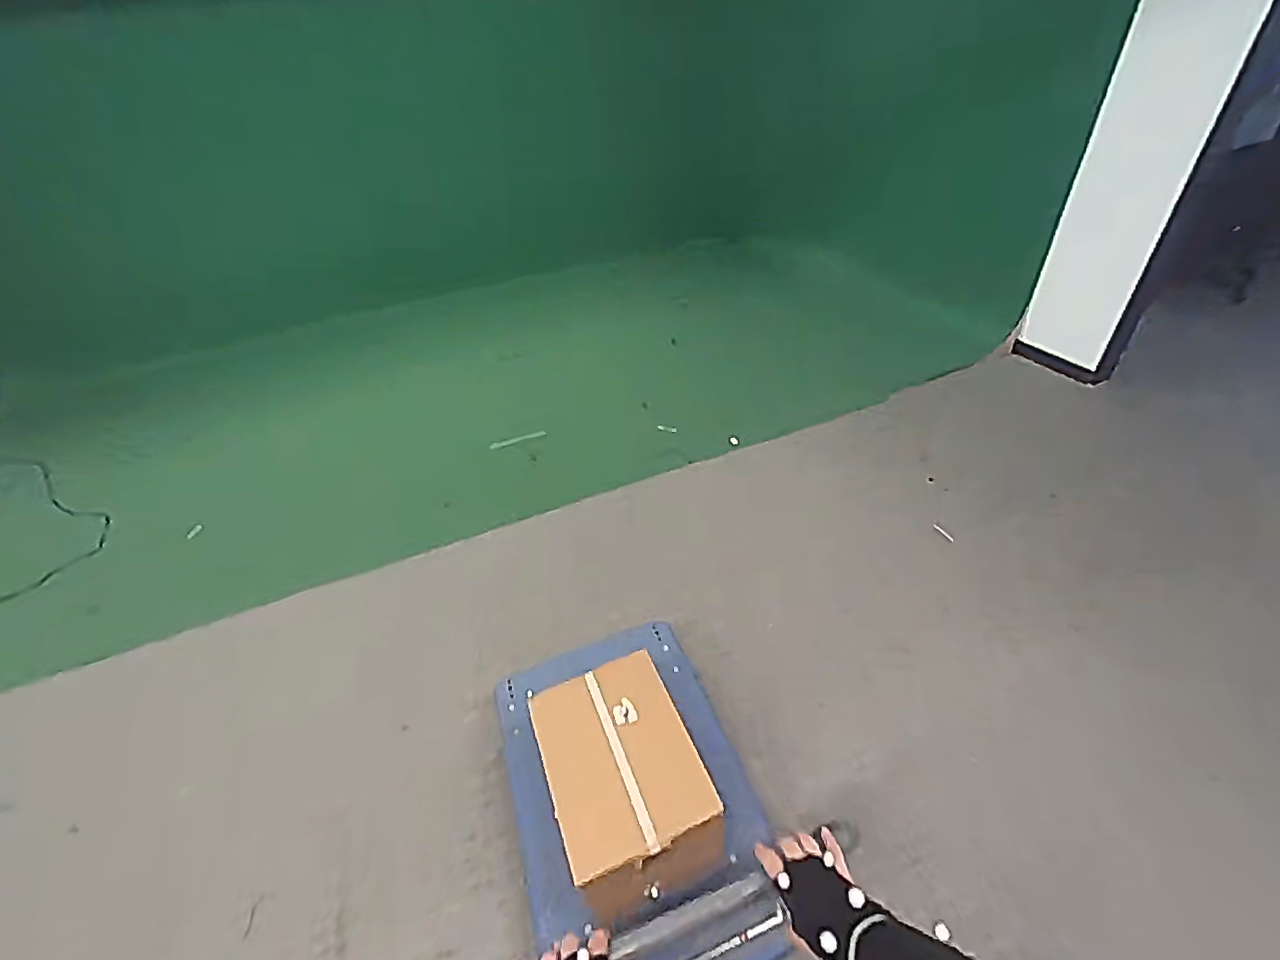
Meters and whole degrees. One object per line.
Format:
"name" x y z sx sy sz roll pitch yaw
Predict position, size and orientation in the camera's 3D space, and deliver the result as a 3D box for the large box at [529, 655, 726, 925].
"large box" -0.030 0.711 1.274 0.320 0.320 0.408 -19 40 -14
